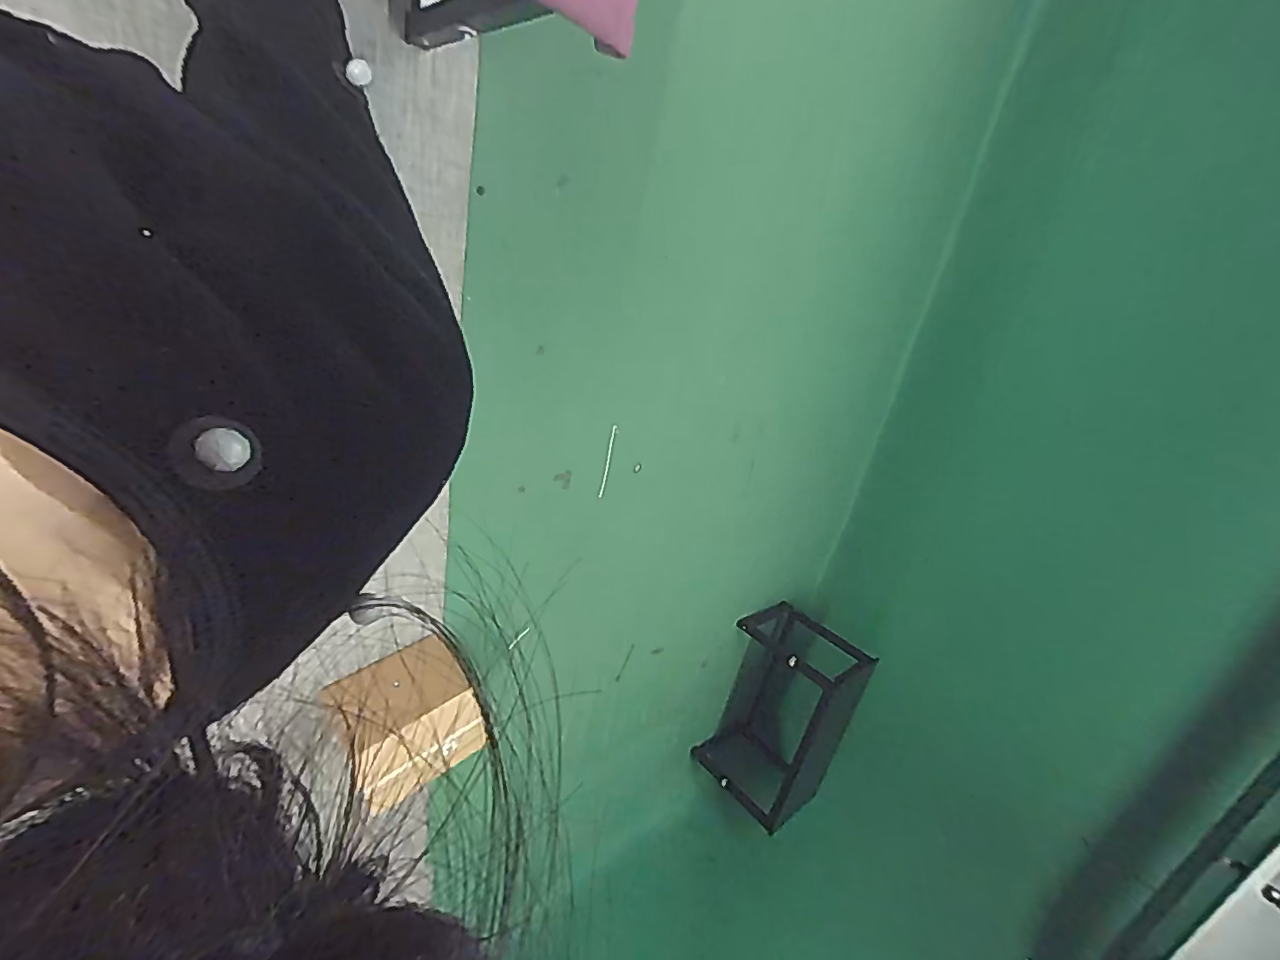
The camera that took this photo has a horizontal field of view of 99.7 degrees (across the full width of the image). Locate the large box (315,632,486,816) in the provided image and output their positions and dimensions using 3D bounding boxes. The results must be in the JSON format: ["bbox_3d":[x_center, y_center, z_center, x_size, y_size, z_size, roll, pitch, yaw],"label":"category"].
[{"bbox_3d":[-0.790,0.793,1.810,0.408,0.320,0.320,-25,130,-35],"label":"large box"}]
